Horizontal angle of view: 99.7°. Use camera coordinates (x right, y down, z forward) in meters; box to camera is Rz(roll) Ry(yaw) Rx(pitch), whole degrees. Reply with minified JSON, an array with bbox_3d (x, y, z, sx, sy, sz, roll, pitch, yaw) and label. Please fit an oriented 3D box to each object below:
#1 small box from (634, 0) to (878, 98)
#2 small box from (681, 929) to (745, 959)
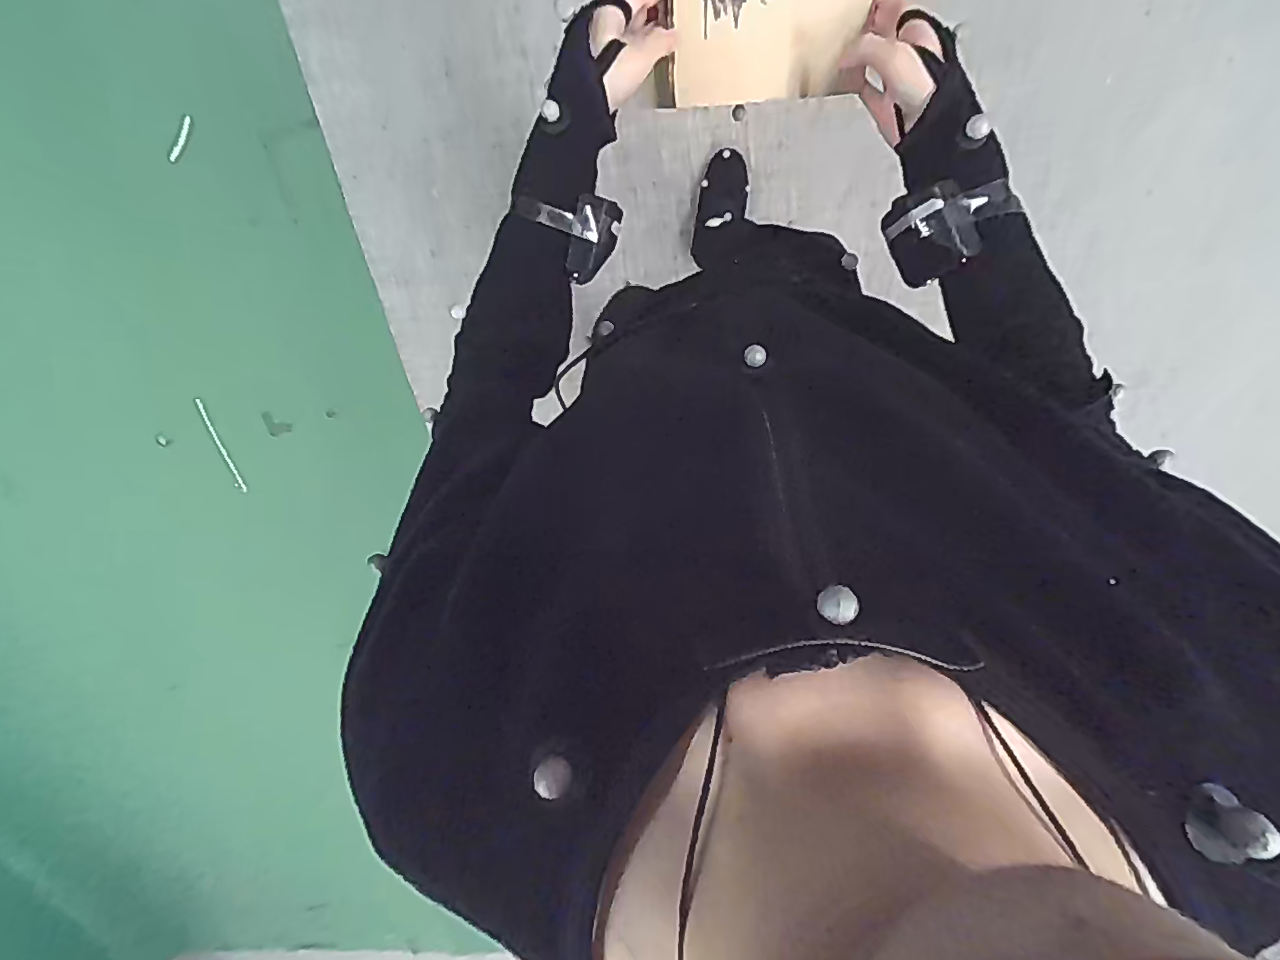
[{"bbox_3d":[0.089,-0.440,0.472,0.179,0.176,0.168,-10,127,-7],"label":"small box"},{"bbox_3d":[0.194,1.323,1.419,0.168,0.176,0.179,-3,118,4],"label":"small box"}]
